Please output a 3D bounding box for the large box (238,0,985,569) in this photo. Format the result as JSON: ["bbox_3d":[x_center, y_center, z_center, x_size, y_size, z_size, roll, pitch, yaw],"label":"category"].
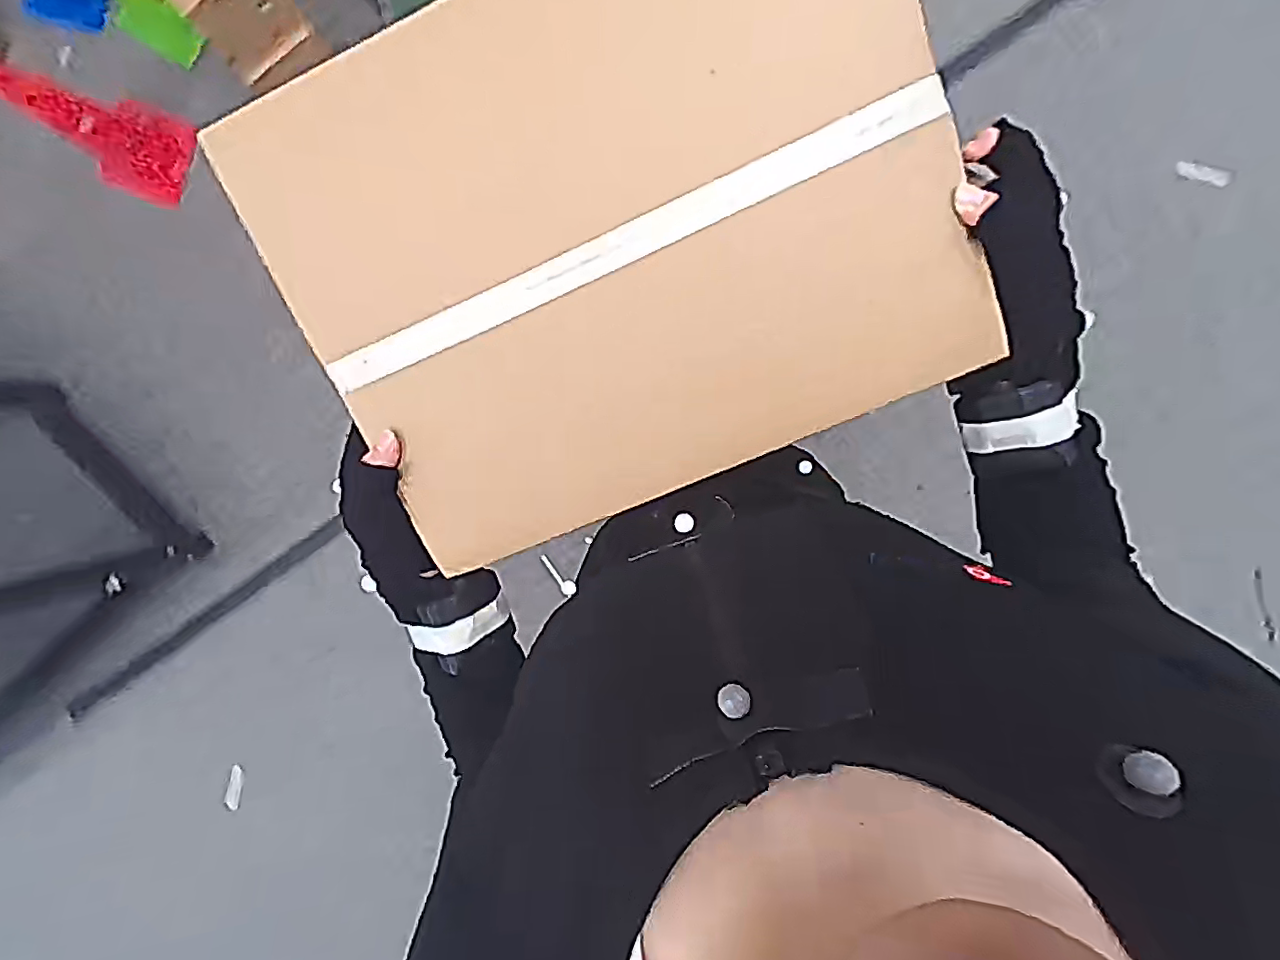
[{"bbox_3d":[-0.006,-0.181,0.486,0.408,0.320,0.320,-21,103,8],"label":"large box"}]
